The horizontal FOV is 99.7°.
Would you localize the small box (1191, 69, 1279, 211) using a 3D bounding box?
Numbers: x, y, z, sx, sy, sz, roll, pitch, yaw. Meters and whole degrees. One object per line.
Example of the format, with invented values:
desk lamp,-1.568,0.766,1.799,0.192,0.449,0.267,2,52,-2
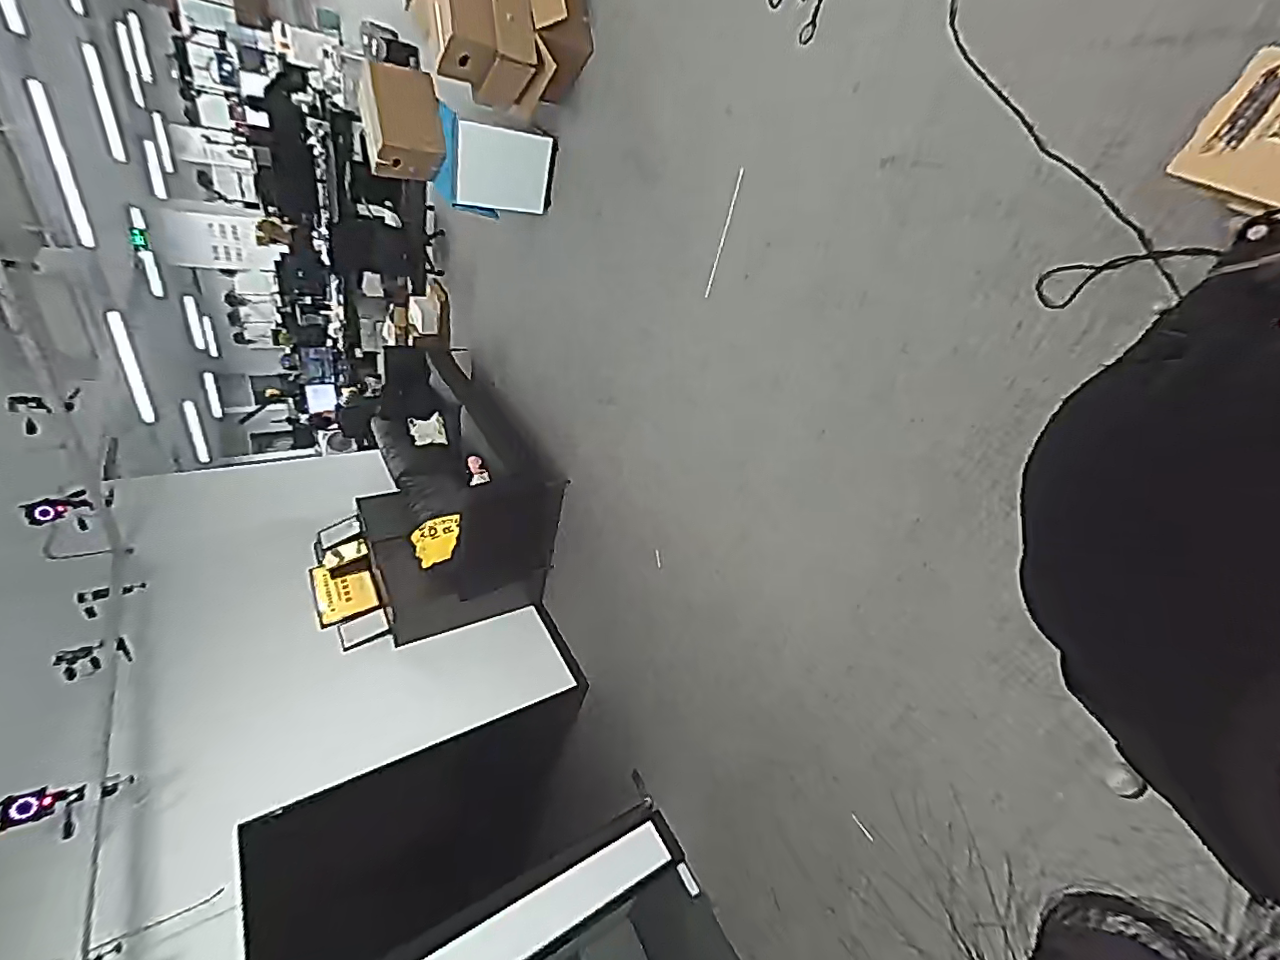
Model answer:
small box,1.093,-0.552,0.892,0.168,0.176,0.179,52,139,34
